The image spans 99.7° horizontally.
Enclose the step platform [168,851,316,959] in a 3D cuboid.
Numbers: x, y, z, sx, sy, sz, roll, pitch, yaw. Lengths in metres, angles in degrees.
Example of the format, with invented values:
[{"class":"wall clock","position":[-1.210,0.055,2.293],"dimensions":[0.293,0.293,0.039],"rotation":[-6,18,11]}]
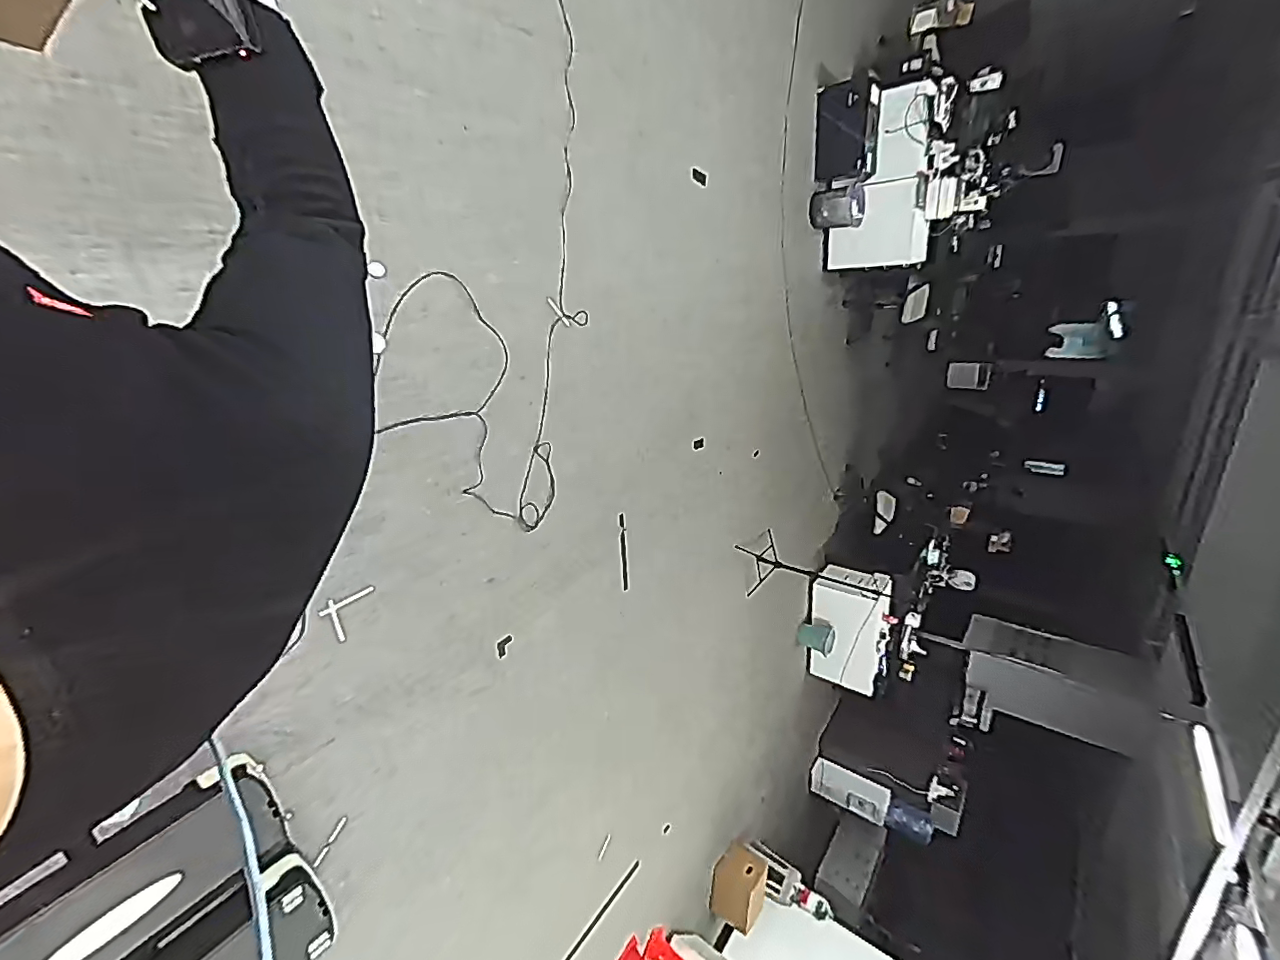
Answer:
[{"class":"step platform","position":[-1.137,1.243,1.232],"dimensions":[0.684,0.204,0.286],"rotation":[-30,122,-44]}]
